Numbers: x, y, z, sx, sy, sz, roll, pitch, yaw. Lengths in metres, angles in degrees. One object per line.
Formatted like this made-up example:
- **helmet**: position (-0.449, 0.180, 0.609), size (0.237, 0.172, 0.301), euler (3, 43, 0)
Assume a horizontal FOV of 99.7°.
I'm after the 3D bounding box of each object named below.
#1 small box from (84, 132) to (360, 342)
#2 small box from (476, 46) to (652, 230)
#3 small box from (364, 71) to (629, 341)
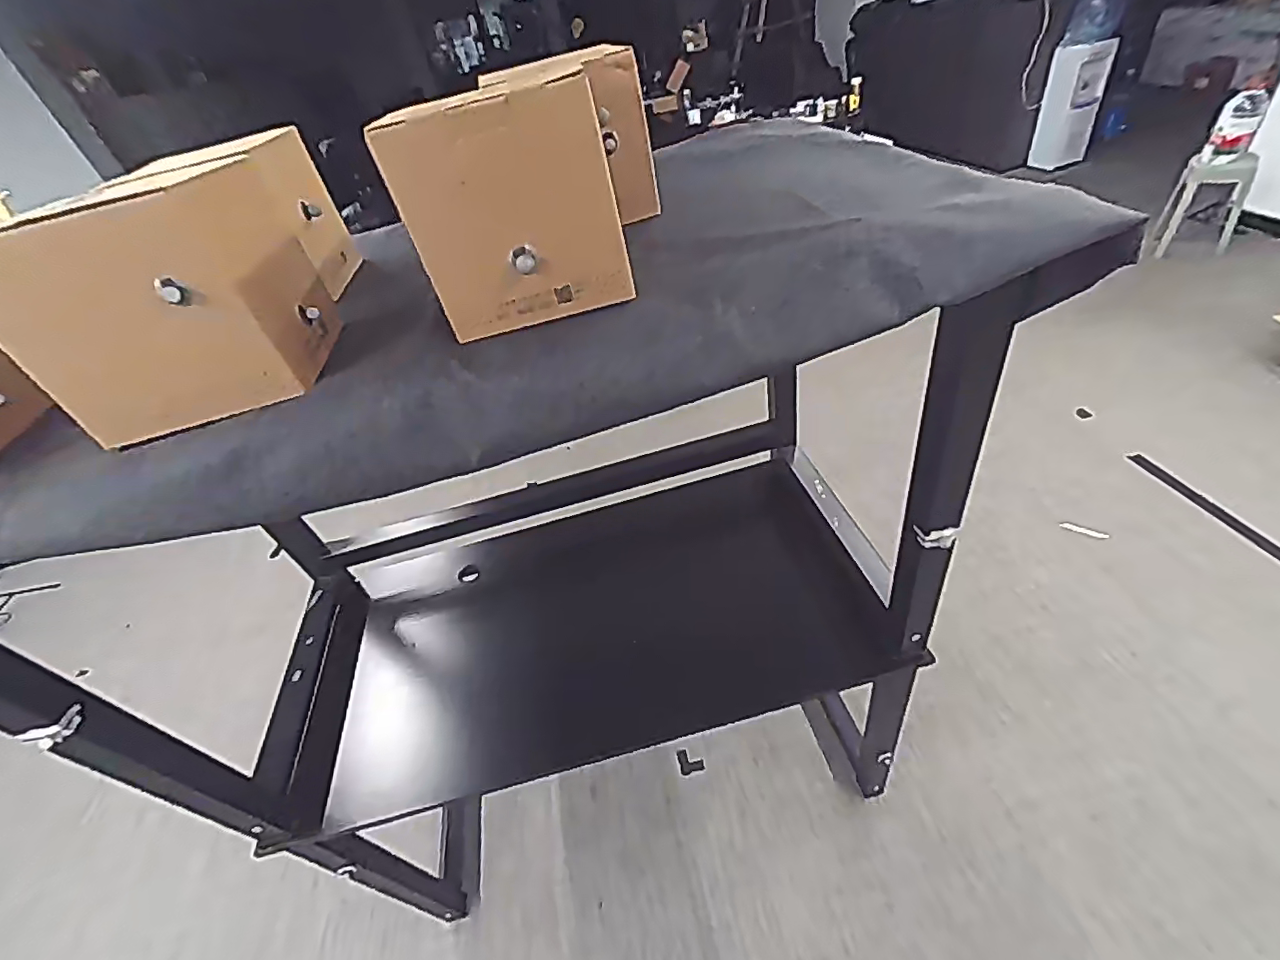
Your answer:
- **small box**: position (-0.476, -0.294, 0.657), size (0.179, 0.176, 0.168), euler (-16, 41, 0)
- **small box**: position (-0.090, -0.404, 0.663), size (0.168, 0.176, 0.179), euler (-16, 41, -3)
- **small box**: position (-0.113, -0.251, 0.497), size (0.168, 0.176, 0.179), euler (-14, 40, 2)
